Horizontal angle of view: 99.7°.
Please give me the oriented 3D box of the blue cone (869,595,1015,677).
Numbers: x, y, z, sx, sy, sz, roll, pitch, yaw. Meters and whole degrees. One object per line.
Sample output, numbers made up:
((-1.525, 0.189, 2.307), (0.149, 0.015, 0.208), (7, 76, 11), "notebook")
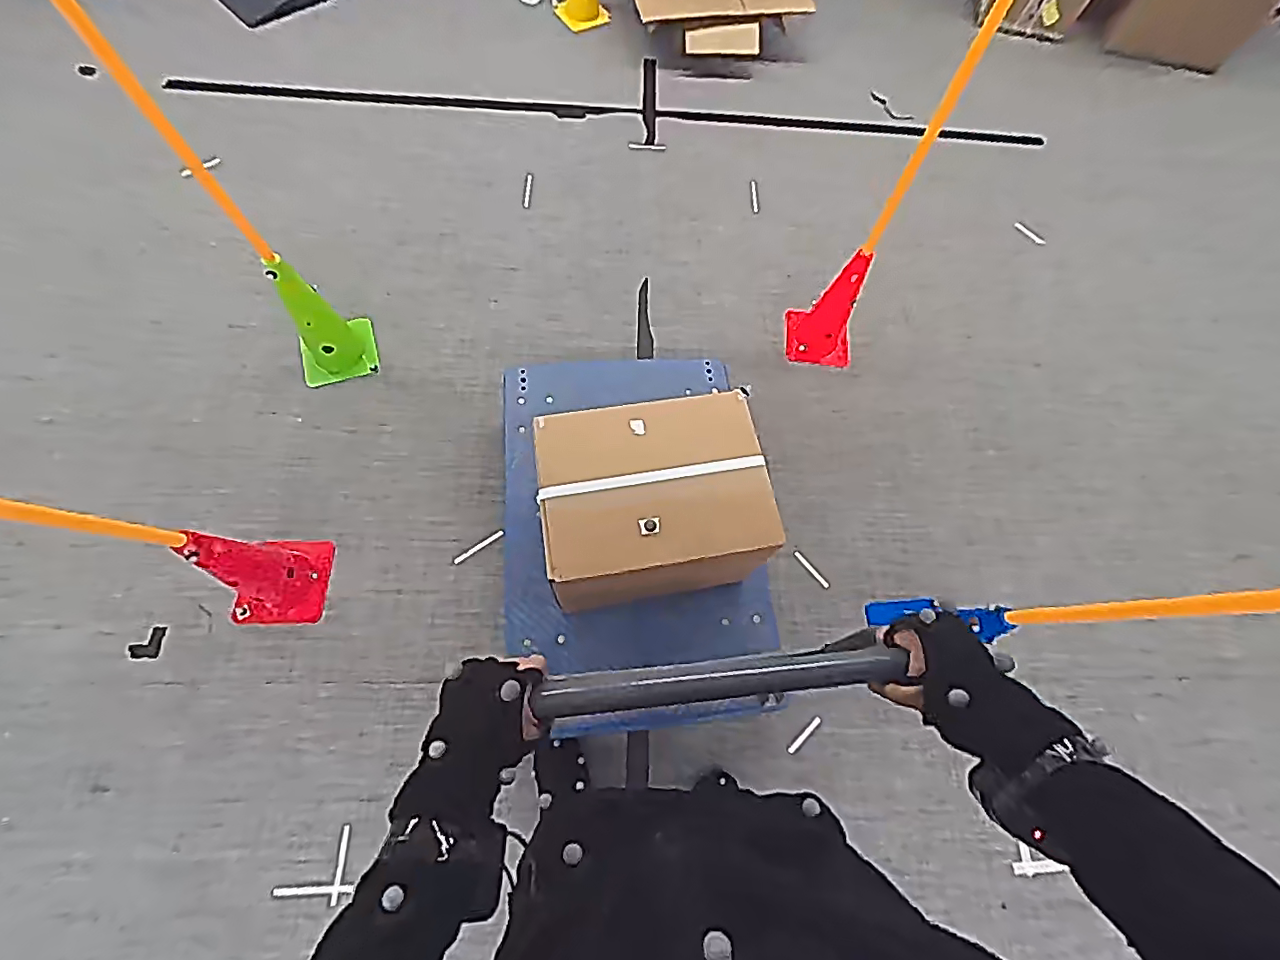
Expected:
((0.694, 0.323, 1.204), (0.193, 0.380, 0.192), (-2, 66, -6), "blue cone")

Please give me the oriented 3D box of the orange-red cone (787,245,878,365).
((0.574, -0.518, 1.533), (0.199, 0.360, 0.198), (8, 67, -2), "orange-red cone")
